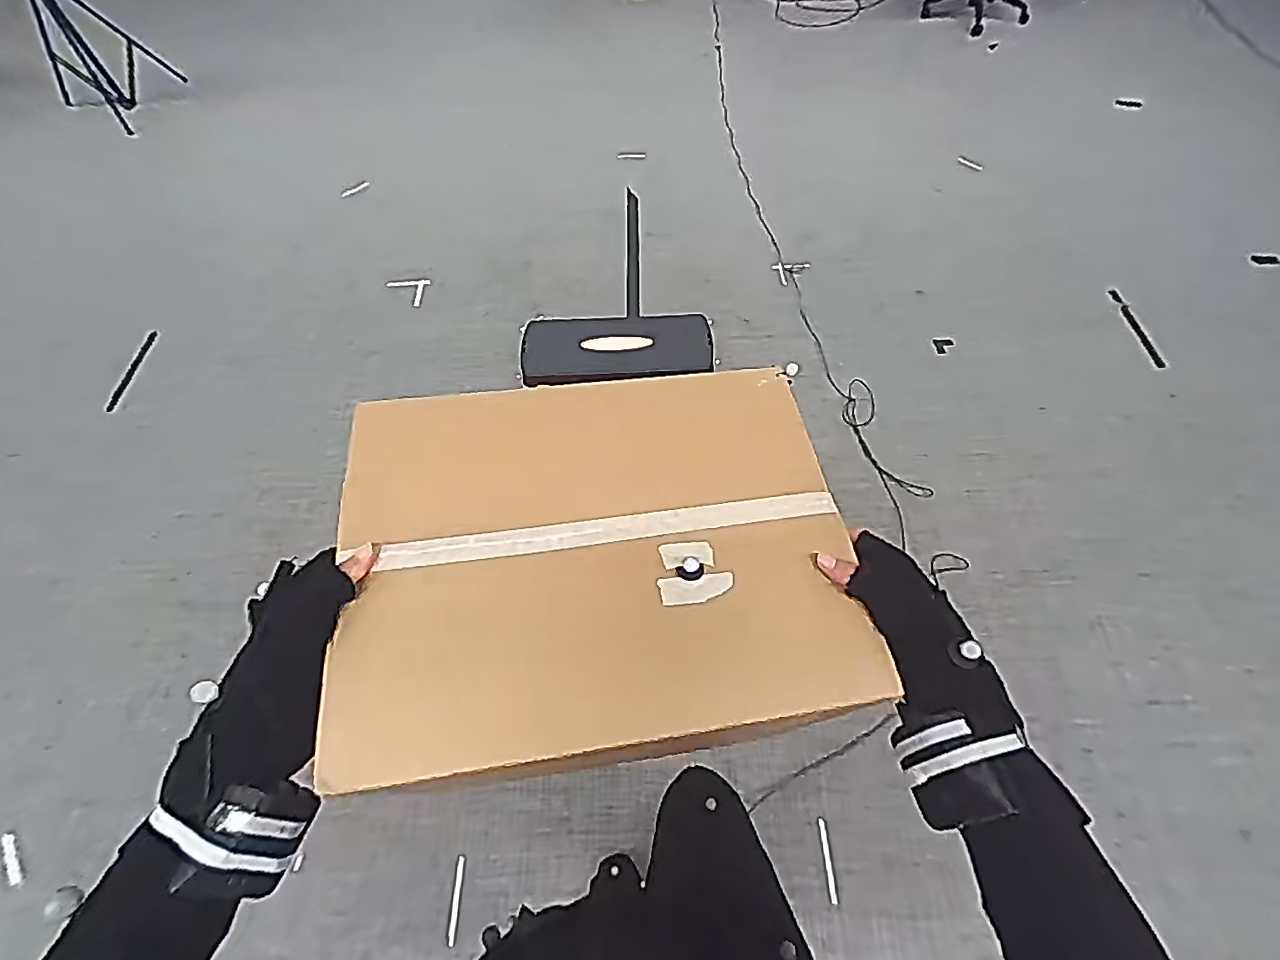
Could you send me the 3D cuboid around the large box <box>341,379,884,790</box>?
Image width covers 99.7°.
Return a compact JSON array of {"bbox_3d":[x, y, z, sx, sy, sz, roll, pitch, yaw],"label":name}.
[{"bbox_3d":[-0.040,0.123,0.586,0.408,0.320,0.320,-6,60,-7],"label":"large box"}]
